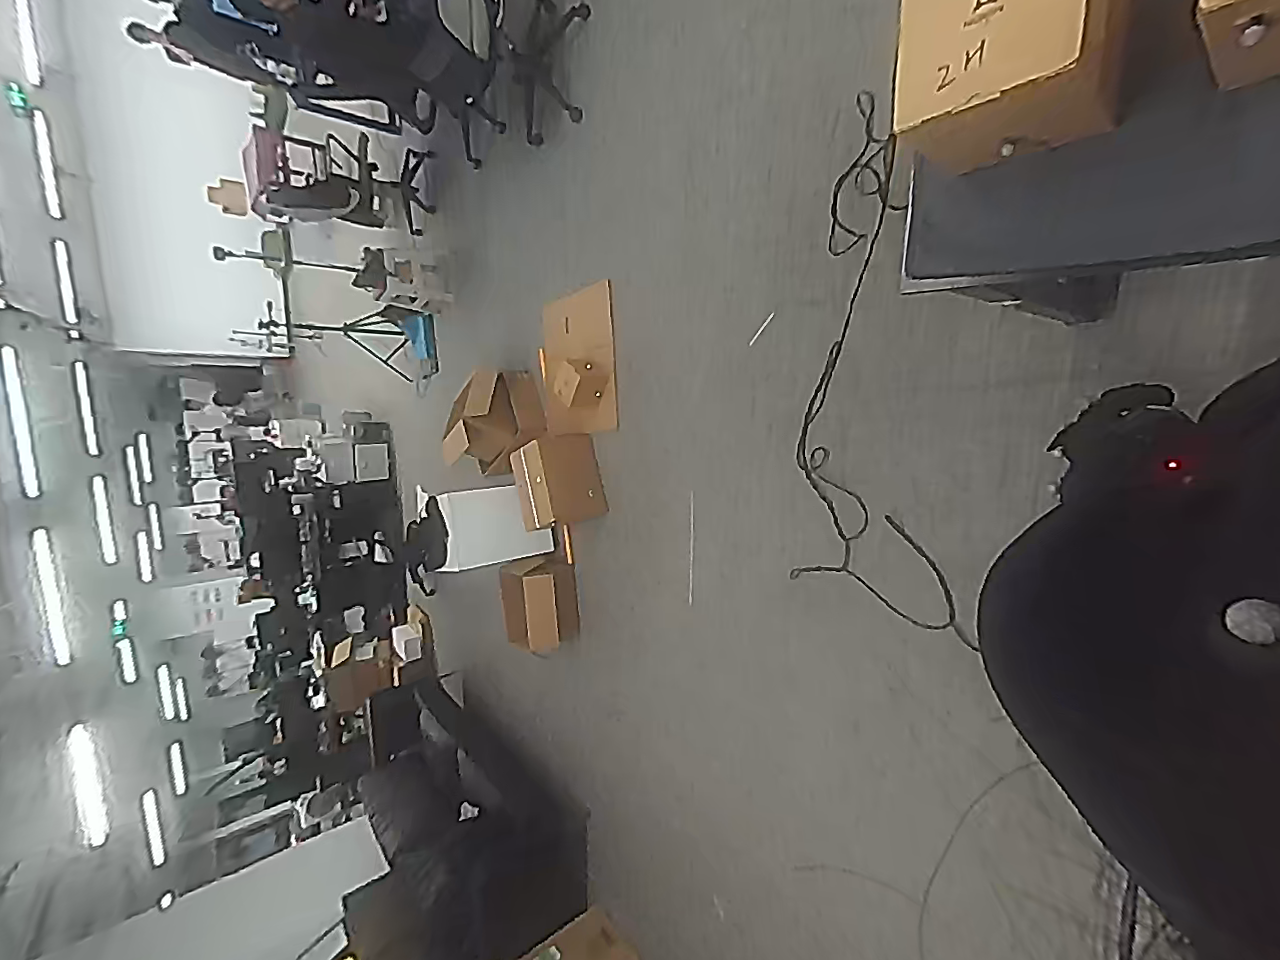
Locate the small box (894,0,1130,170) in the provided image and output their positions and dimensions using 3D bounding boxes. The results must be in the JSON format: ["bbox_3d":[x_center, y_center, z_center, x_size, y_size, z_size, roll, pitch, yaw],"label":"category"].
[{"bbox_3d":[0.395,-0.467,0.575,0.168,0.176,0.179,10,102,49],"label":"small box"}]
